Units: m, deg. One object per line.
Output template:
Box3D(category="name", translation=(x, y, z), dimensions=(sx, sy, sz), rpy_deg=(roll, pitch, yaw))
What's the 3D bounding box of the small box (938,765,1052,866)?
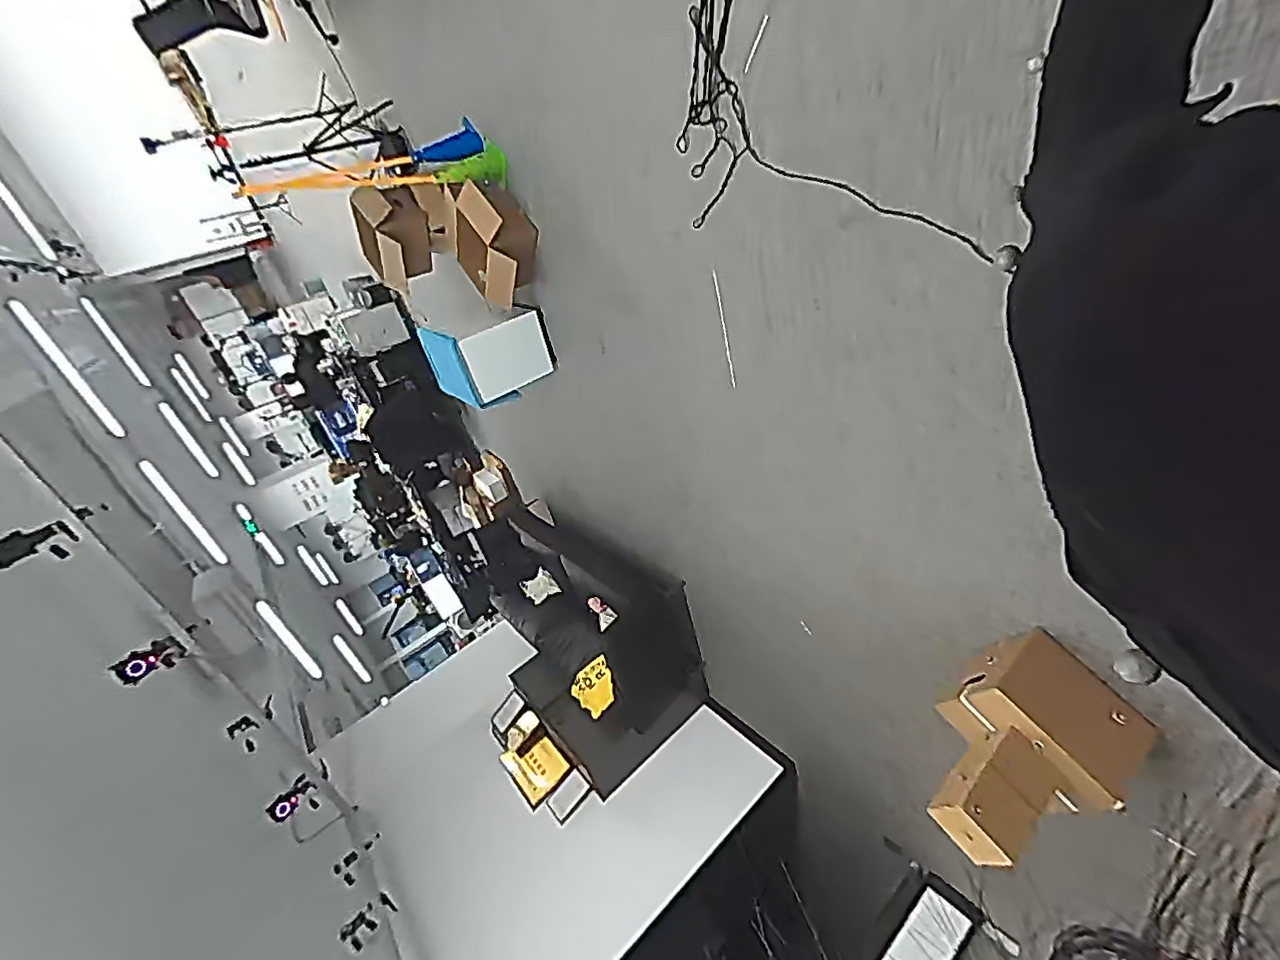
Box3D(category="small box", translation=(0.998, 0.940, 1.520), dimensions=(0.179, 0.176, 0.168), rpy_deg=(47, 152, 23))
